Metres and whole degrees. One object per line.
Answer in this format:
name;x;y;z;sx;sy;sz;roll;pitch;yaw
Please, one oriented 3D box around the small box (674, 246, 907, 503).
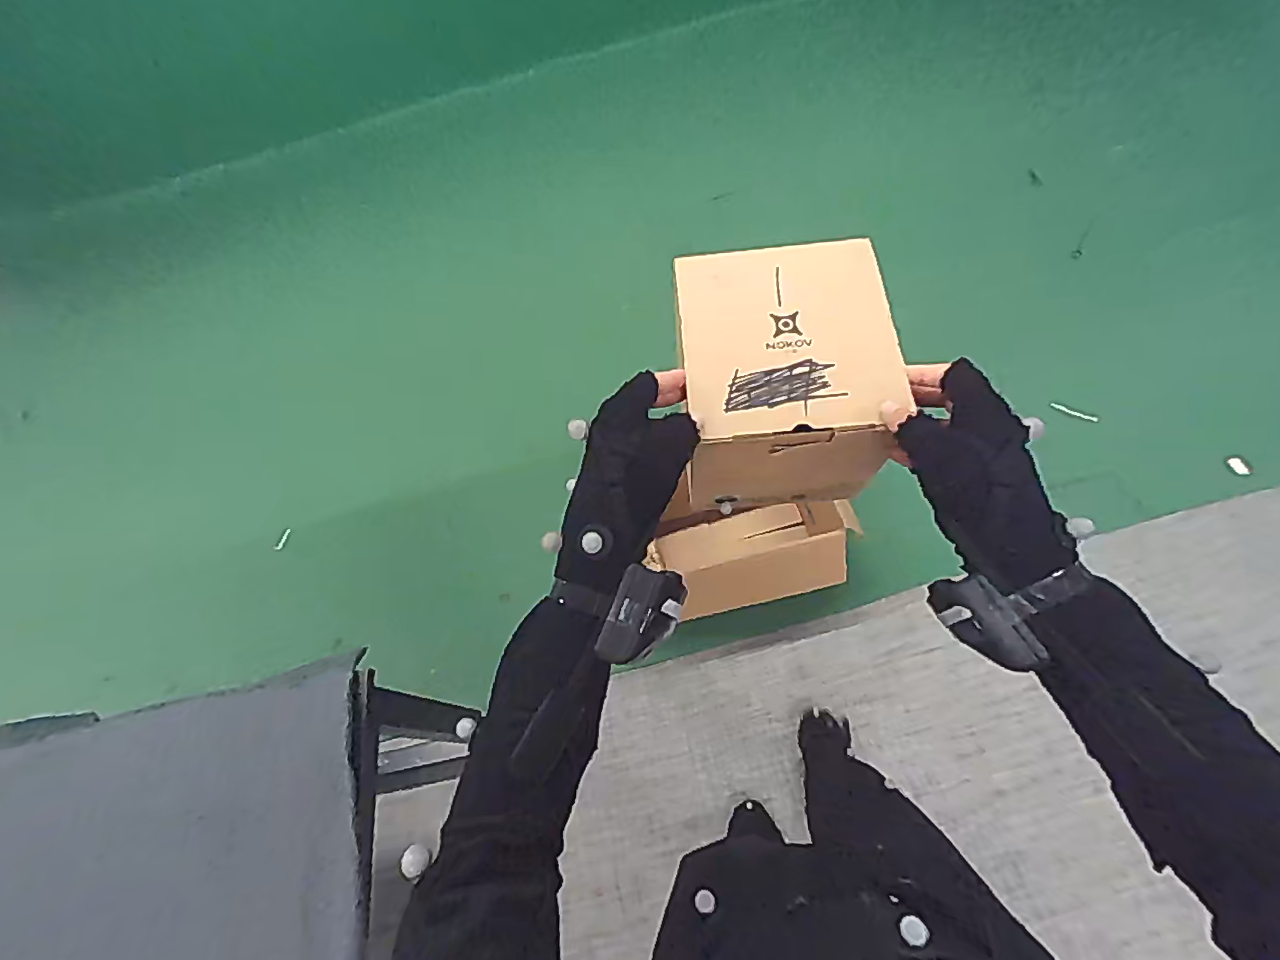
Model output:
small box;0.123;-0.083;0.509;0.168;0.176;0.179;-5;68;4
